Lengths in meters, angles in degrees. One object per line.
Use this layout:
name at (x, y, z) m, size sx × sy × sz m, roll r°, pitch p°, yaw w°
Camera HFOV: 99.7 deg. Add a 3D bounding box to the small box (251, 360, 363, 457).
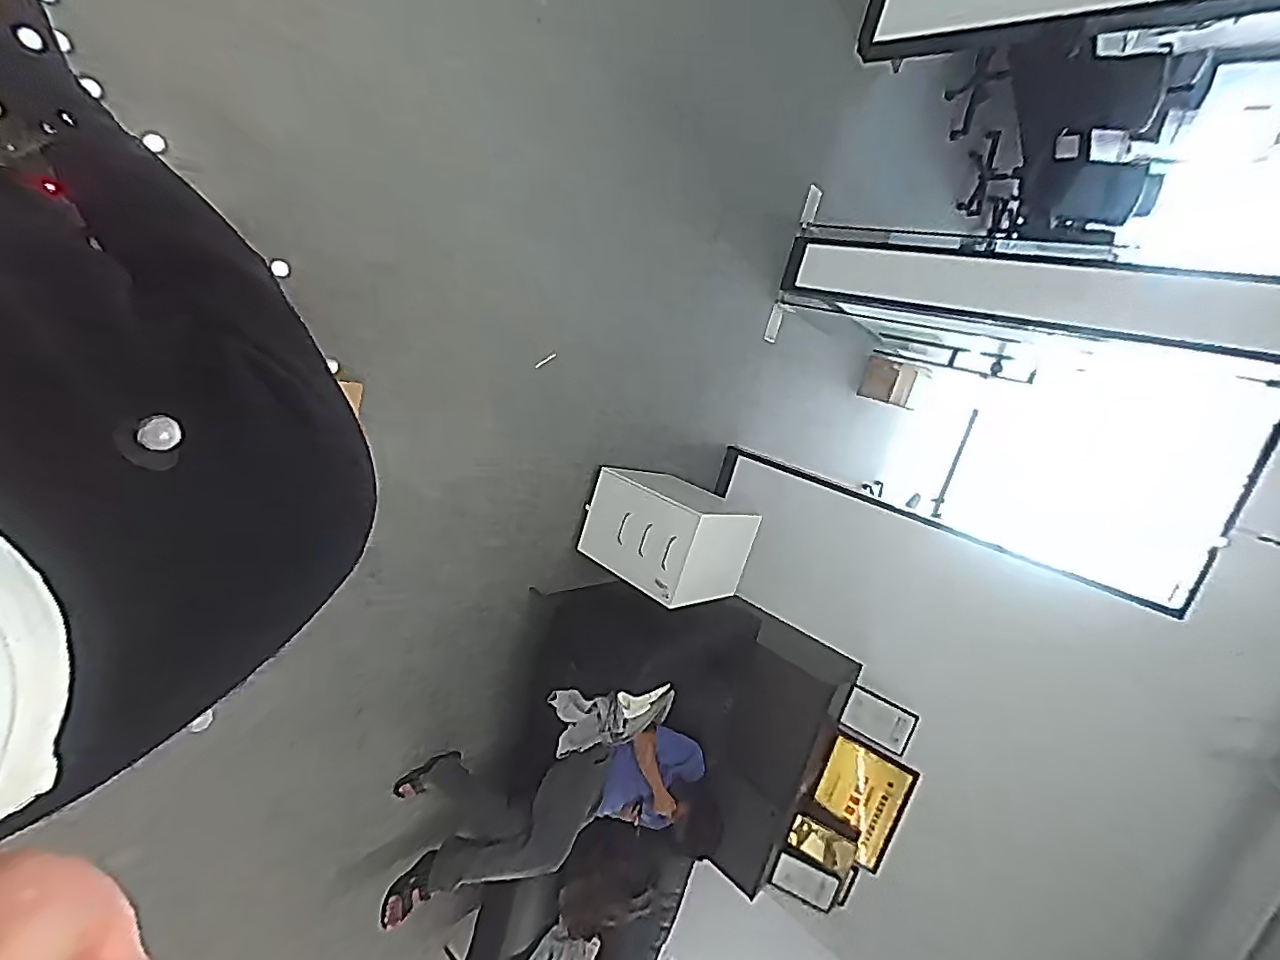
small box at (-0.760, -0.164, 1.228) m, size 0.168 × 0.176 × 0.179 m, roll 0°, pitch 111°, yaw -51°
